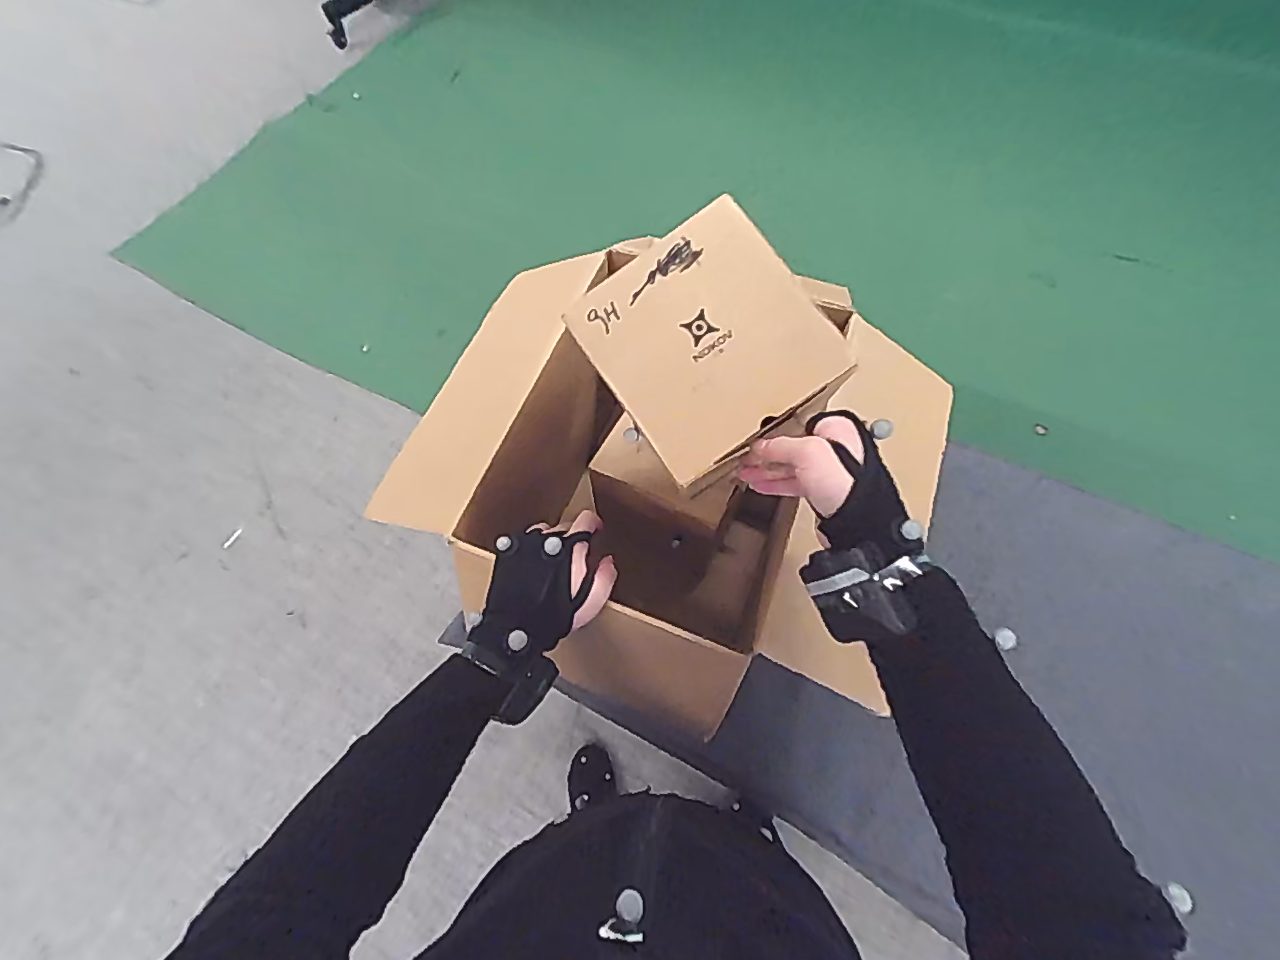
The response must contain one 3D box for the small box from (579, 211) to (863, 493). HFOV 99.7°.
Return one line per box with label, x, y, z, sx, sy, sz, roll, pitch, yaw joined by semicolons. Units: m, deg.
small box;0.073;-0.100;0.514;0.168;0.176;0.179;-36;81;3
